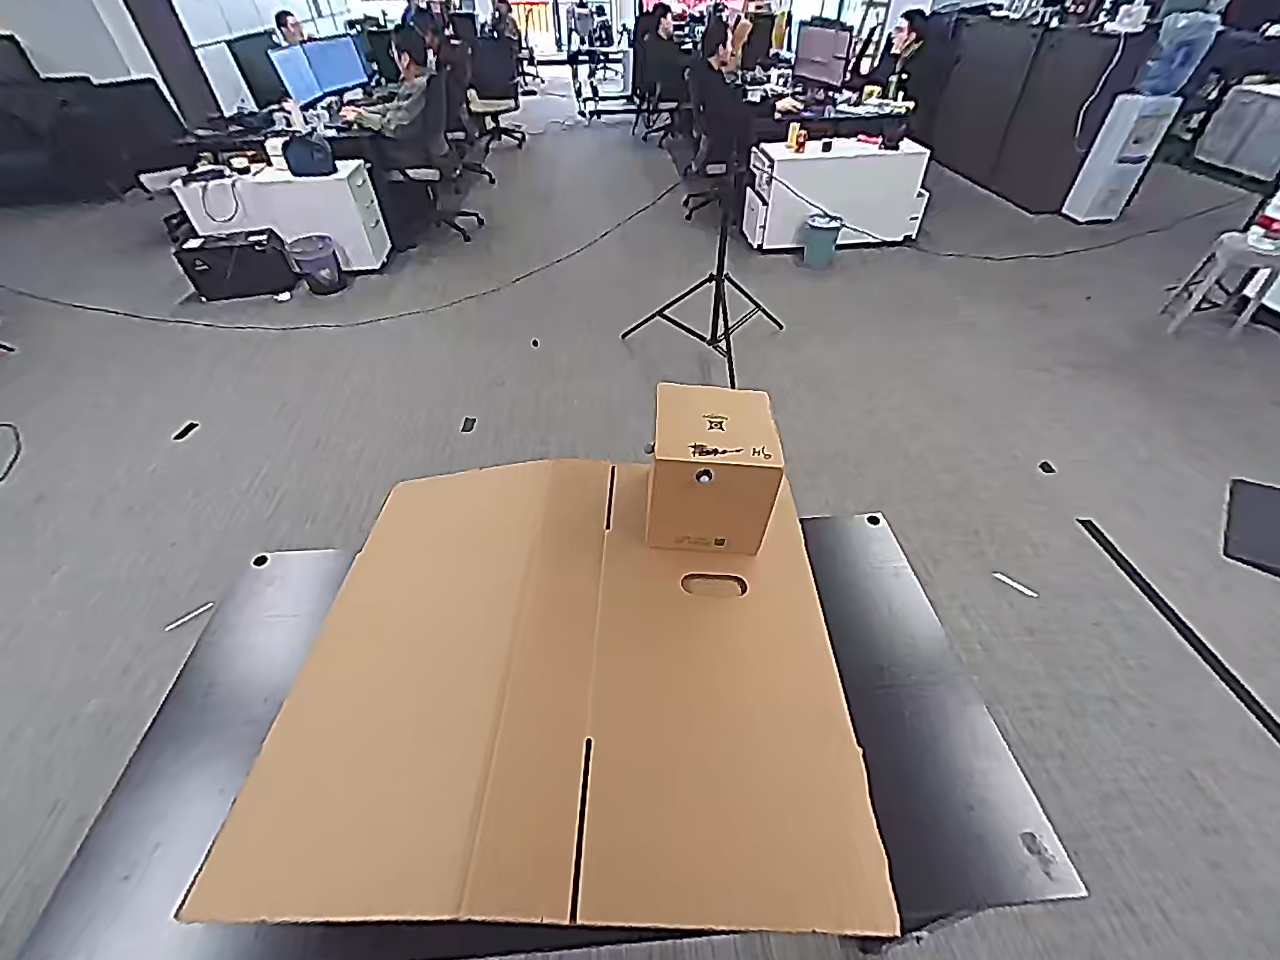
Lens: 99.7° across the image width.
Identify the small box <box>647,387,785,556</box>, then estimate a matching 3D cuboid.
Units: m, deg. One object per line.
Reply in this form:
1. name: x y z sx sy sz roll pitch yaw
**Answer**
1. small box: 0.098 -0.014 0.787 0.168 0.176 0.179 4 41 0
